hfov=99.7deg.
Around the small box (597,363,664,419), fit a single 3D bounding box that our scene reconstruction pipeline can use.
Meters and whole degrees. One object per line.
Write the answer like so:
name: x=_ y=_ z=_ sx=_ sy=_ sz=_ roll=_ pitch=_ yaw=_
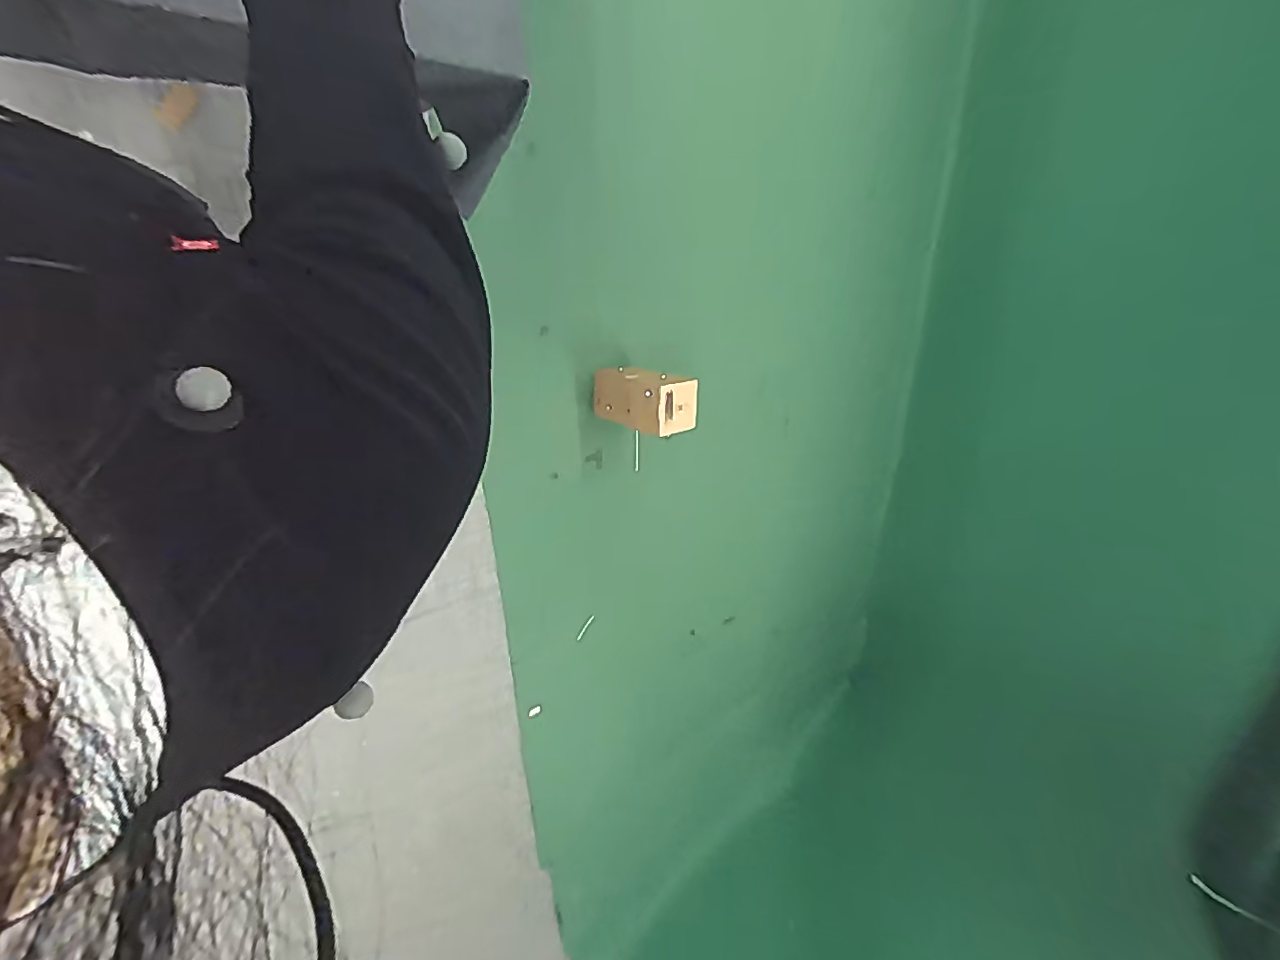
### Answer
small box: x=-0.038 y=-0.318 z=1.906 sx=0.179 sy=0.176 sz=0.168 roll=-15 pitch=116 yaw=-39
